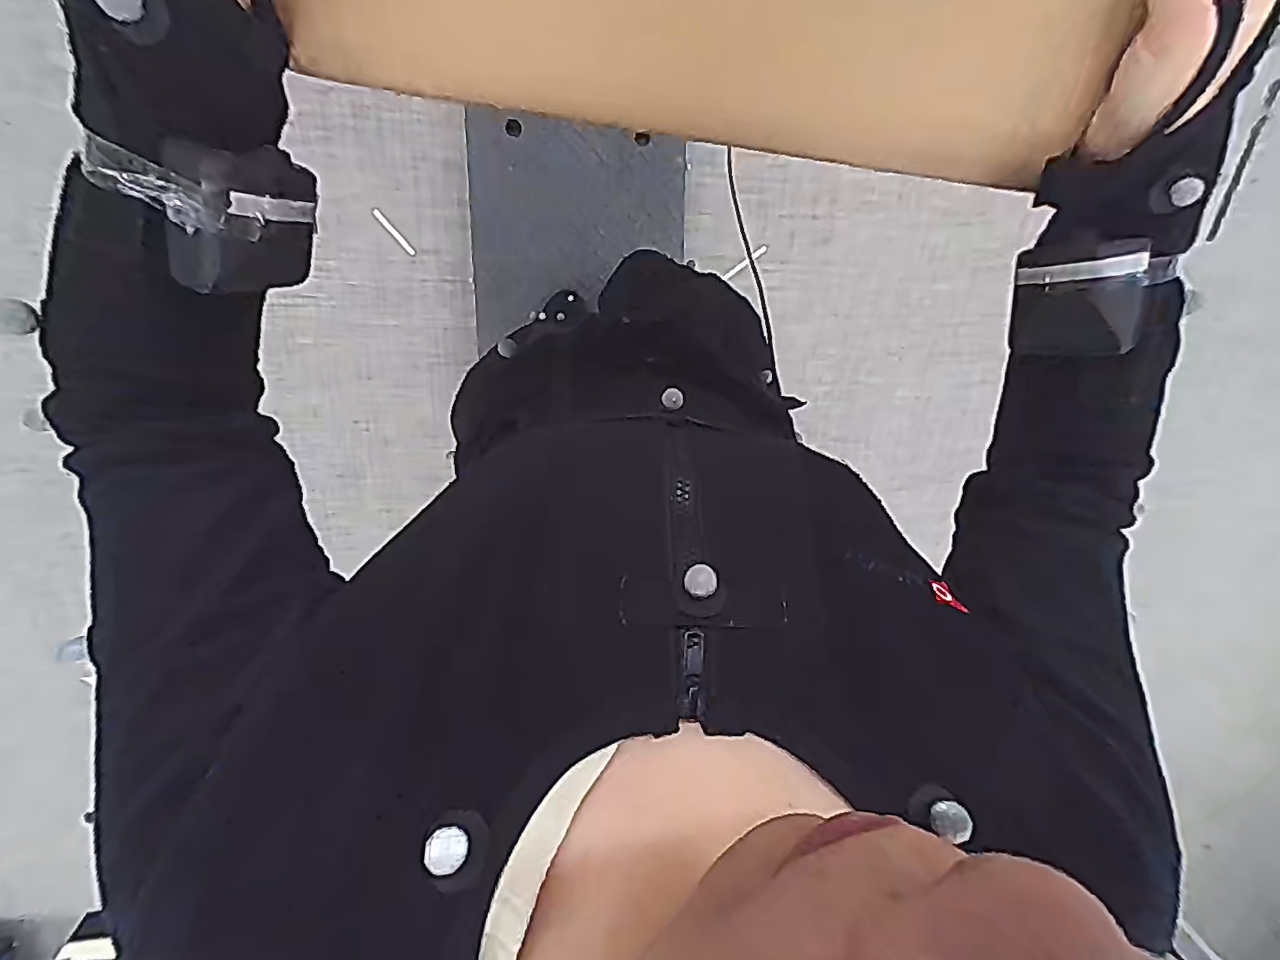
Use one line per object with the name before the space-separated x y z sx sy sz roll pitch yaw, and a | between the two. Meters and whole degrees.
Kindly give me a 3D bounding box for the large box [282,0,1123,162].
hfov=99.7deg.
large box | 0.037 -0.402 0.295 0.408 0.320 0.320 2 132 -10
